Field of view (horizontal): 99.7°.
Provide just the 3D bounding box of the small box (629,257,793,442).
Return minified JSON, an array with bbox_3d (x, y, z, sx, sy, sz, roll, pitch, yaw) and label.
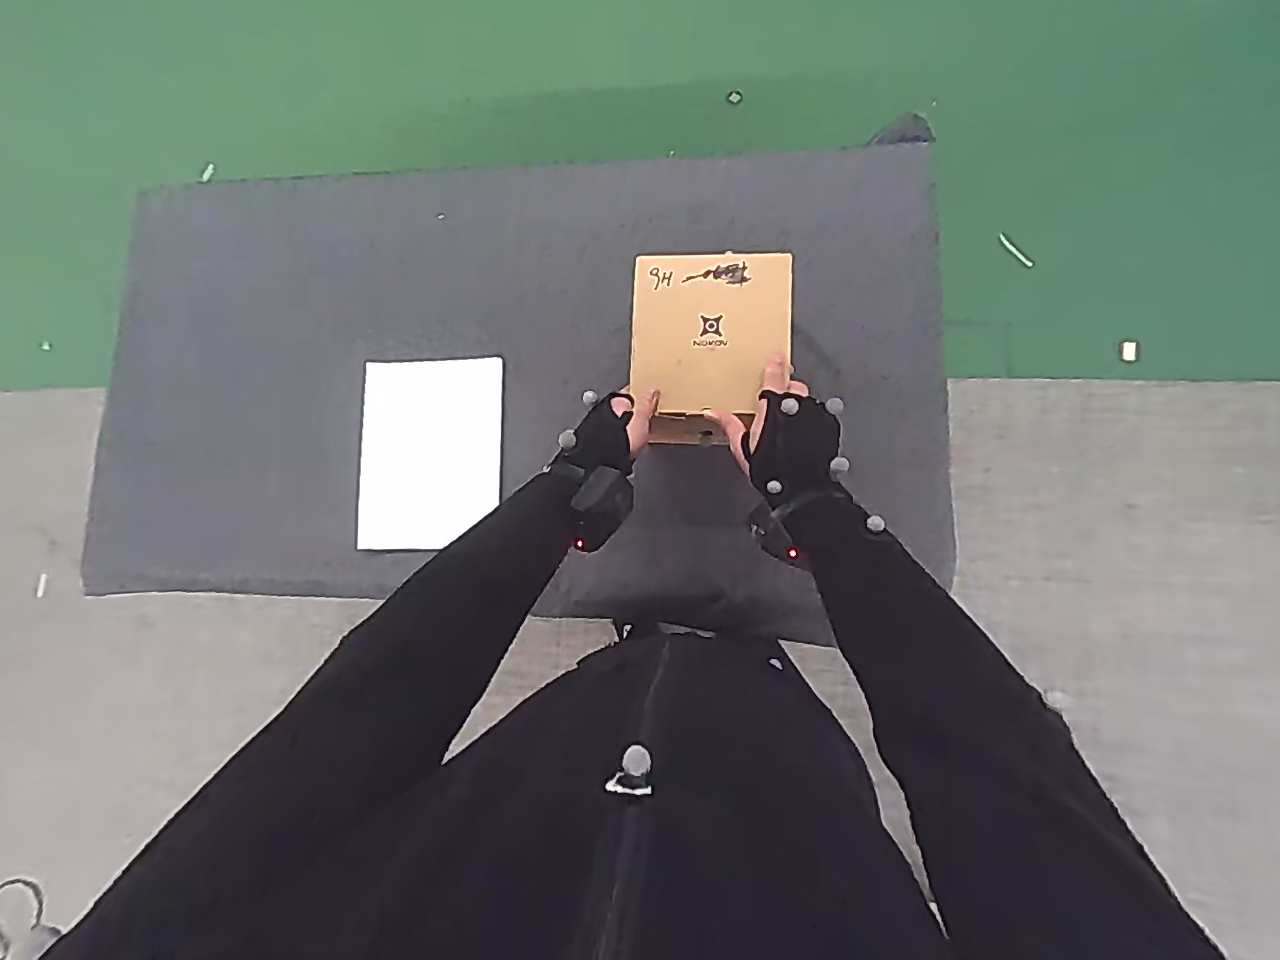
[{"bbox_3d":[0.084,-0.141,0.642,0.168,0.176,0.179,2,86,7],"label":"small box"}]
